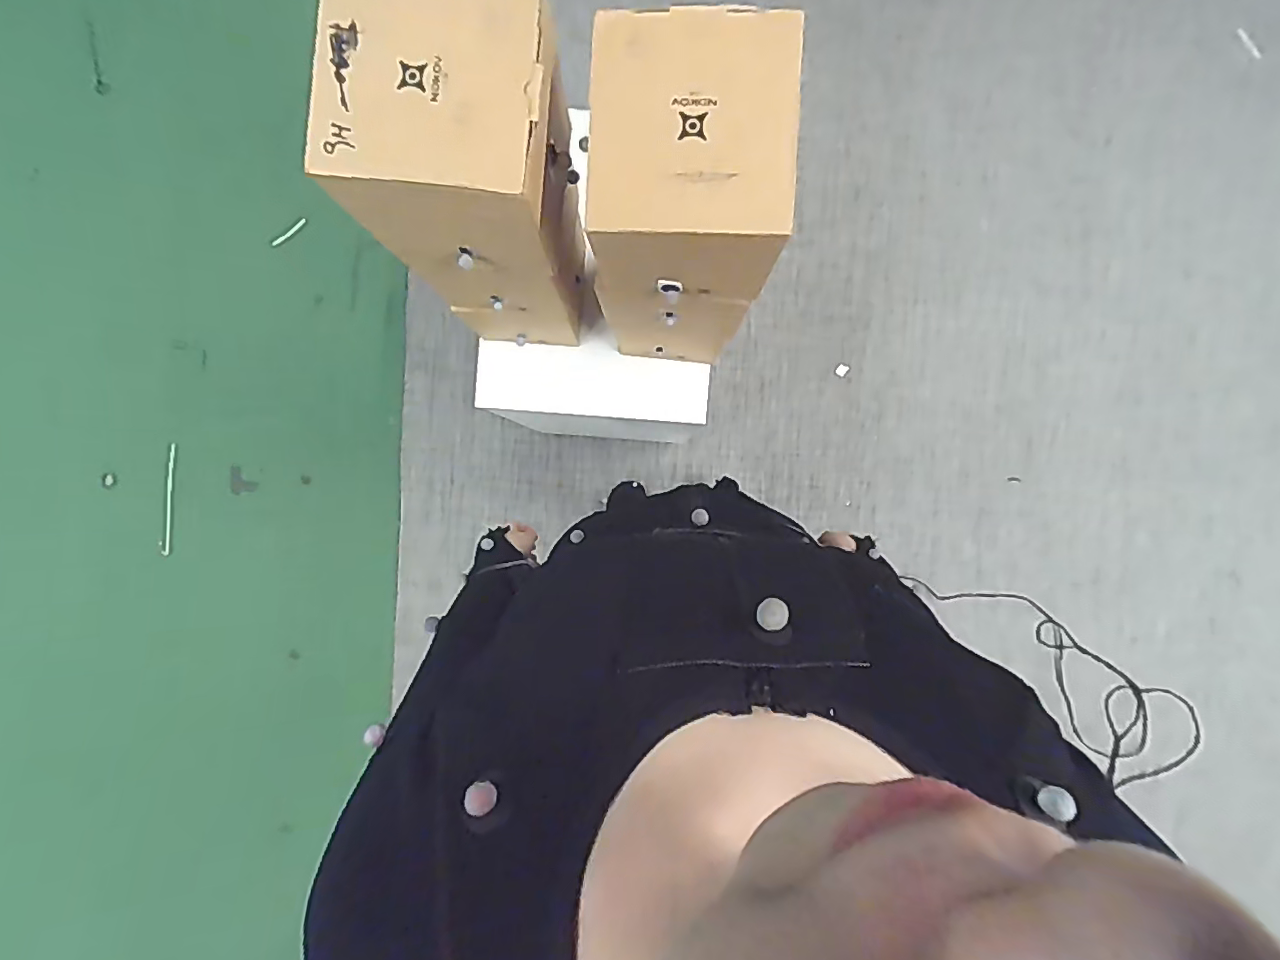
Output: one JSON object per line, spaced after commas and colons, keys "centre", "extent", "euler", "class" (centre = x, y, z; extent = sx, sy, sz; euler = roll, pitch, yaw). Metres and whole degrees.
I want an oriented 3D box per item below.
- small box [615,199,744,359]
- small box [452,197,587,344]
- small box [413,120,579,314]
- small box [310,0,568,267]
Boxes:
{"centre": [0.056, -0.297, 0.830], "extent": [0.168, 0.176, 0.179], "euler": [6, 91, 2], "class": "small box"}
{"centre": [-0.175, -0.322, 0.832], "extent": [0.168, 0.176, 0.179], "euler": [5, 92, 0], "class": "small box"}
{"centre": [-0.171, -0.324, 0.668], "extent": [0.168, 0.176, 0.179], "euler": [6, 91, 0], "class": "small box"}
{"centre": [-0.167, -0.314, 0.504], "extent": [0.179, 0.176, 0.168], "euler": [6, 90, -1], "class": "small box"}
